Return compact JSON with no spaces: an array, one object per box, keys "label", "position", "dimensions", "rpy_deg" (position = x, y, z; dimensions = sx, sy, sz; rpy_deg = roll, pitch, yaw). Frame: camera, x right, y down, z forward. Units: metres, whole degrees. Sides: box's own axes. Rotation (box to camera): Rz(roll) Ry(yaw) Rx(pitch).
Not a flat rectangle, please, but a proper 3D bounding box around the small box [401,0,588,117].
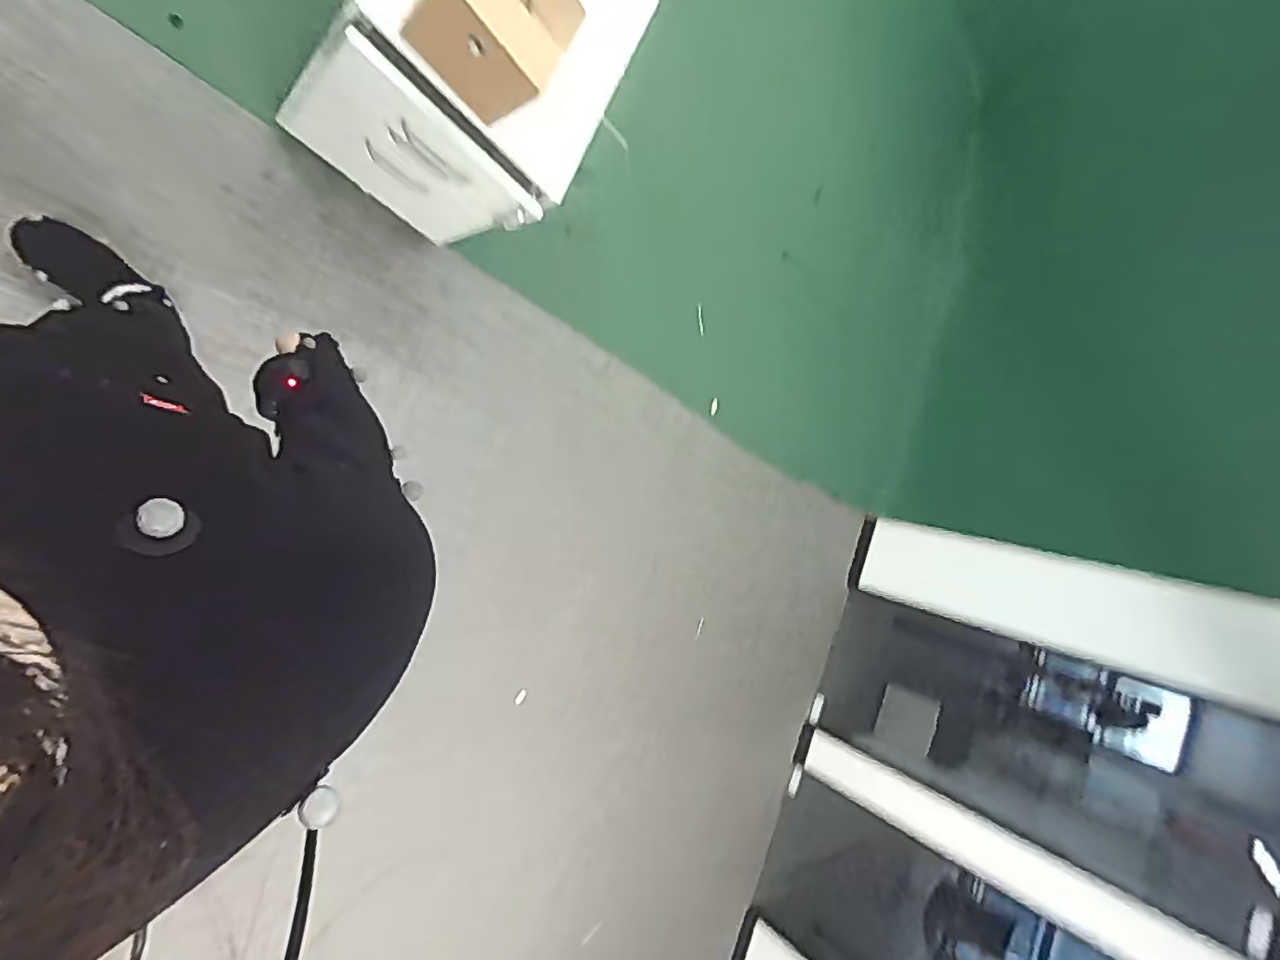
[{"label":"small box","position":[-0.217,-0.686,0.797],"dimensions":[0.179,0.176,0.168],"rpy_deg":[34,75,-44]}]
